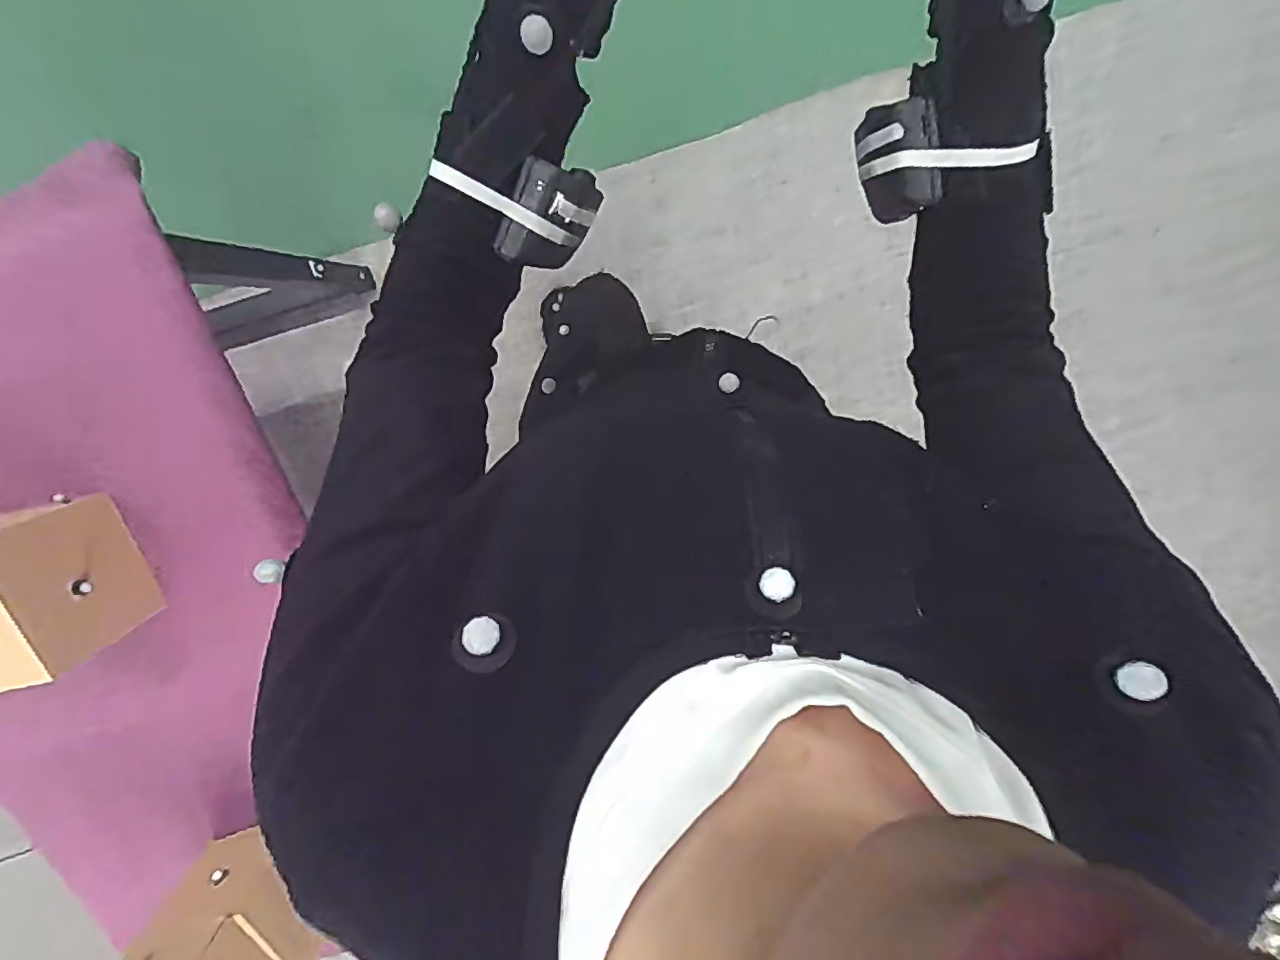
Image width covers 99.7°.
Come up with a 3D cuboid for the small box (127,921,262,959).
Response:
[{"bbox_3d":[-0.583,0.707,0.669,0.168,0.176,0.179,-24,105,5],"label":"small box"}]

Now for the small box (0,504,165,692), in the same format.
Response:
[{"bbox_3d":[-0.753,0.137,0.661,0.168,0.176,0.179,-8,107,3],"label":"small box"}]
